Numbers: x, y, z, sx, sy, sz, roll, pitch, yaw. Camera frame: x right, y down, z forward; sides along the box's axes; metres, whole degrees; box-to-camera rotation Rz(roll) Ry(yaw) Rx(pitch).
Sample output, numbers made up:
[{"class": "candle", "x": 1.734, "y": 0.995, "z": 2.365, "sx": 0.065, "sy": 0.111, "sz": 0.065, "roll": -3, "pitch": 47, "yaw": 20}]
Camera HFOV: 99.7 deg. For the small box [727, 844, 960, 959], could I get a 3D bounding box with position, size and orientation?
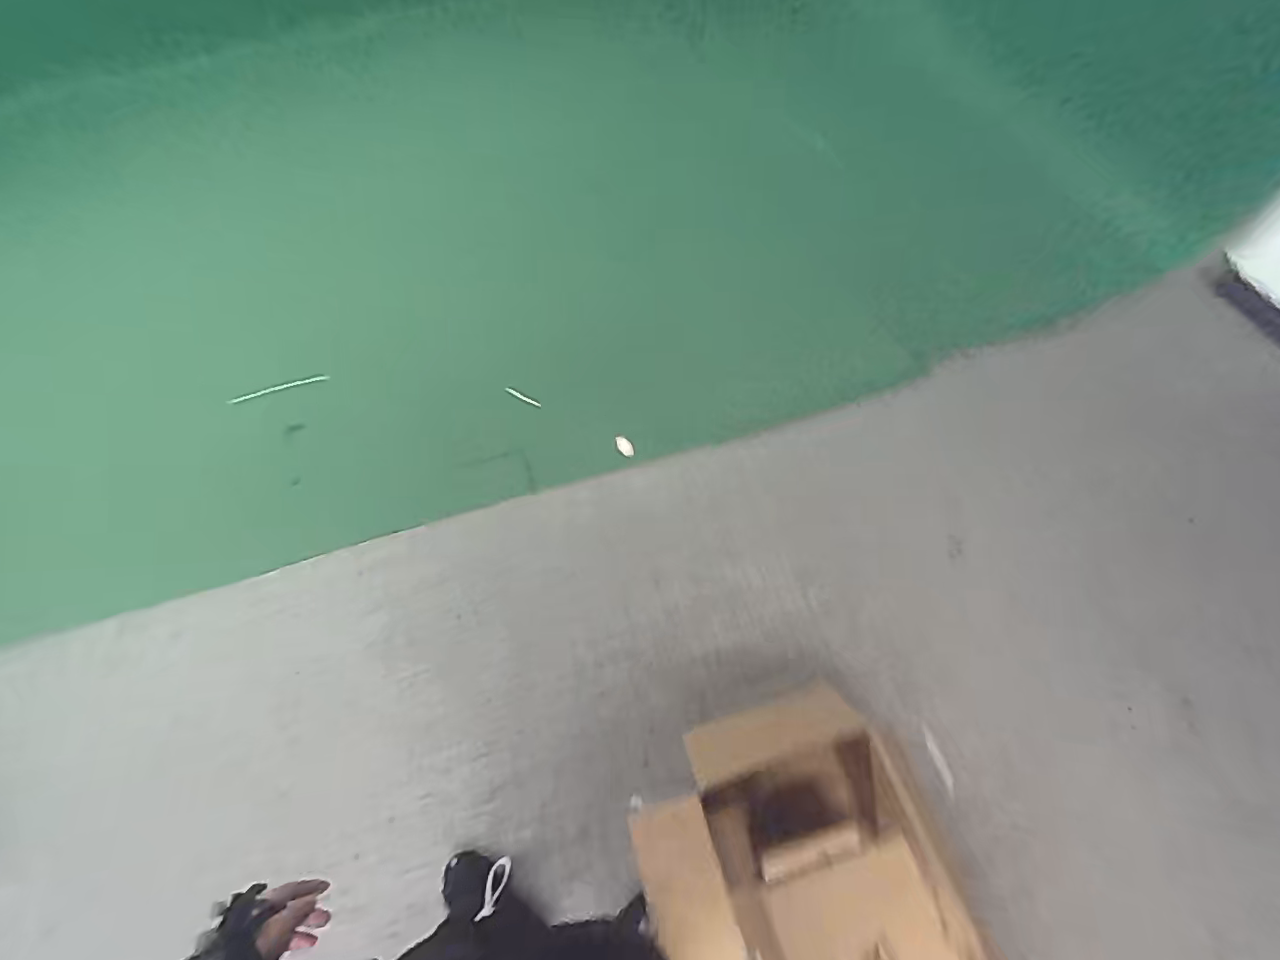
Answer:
[{"class": "small box", "x": 0.216, "y": 0.513, "z": 0.578, "sx": 0.179, "sy": 0.176, "sz": 0.168, "roll": -9, "pitch": 54, "yaw": -15}]
